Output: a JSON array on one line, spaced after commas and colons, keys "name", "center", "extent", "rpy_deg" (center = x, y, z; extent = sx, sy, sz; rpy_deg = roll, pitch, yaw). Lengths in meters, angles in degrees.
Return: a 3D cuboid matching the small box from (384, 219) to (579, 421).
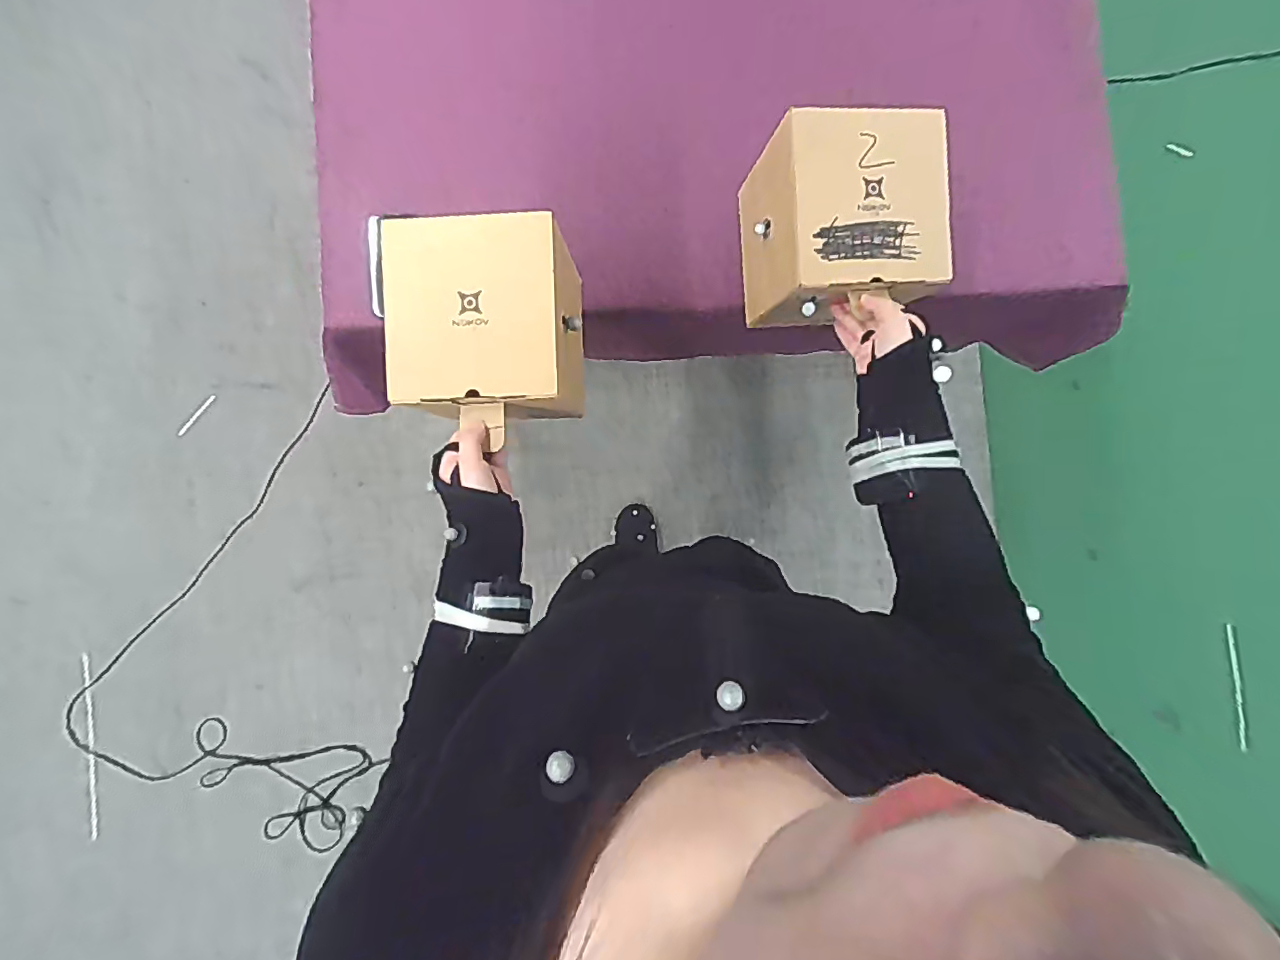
[{"name": "small box", "center": [-0.161, -0.161, 0.596], "extent": [0.168, 0.176, 0.179], "rpy_deg": [-1, 91, 2]}]
